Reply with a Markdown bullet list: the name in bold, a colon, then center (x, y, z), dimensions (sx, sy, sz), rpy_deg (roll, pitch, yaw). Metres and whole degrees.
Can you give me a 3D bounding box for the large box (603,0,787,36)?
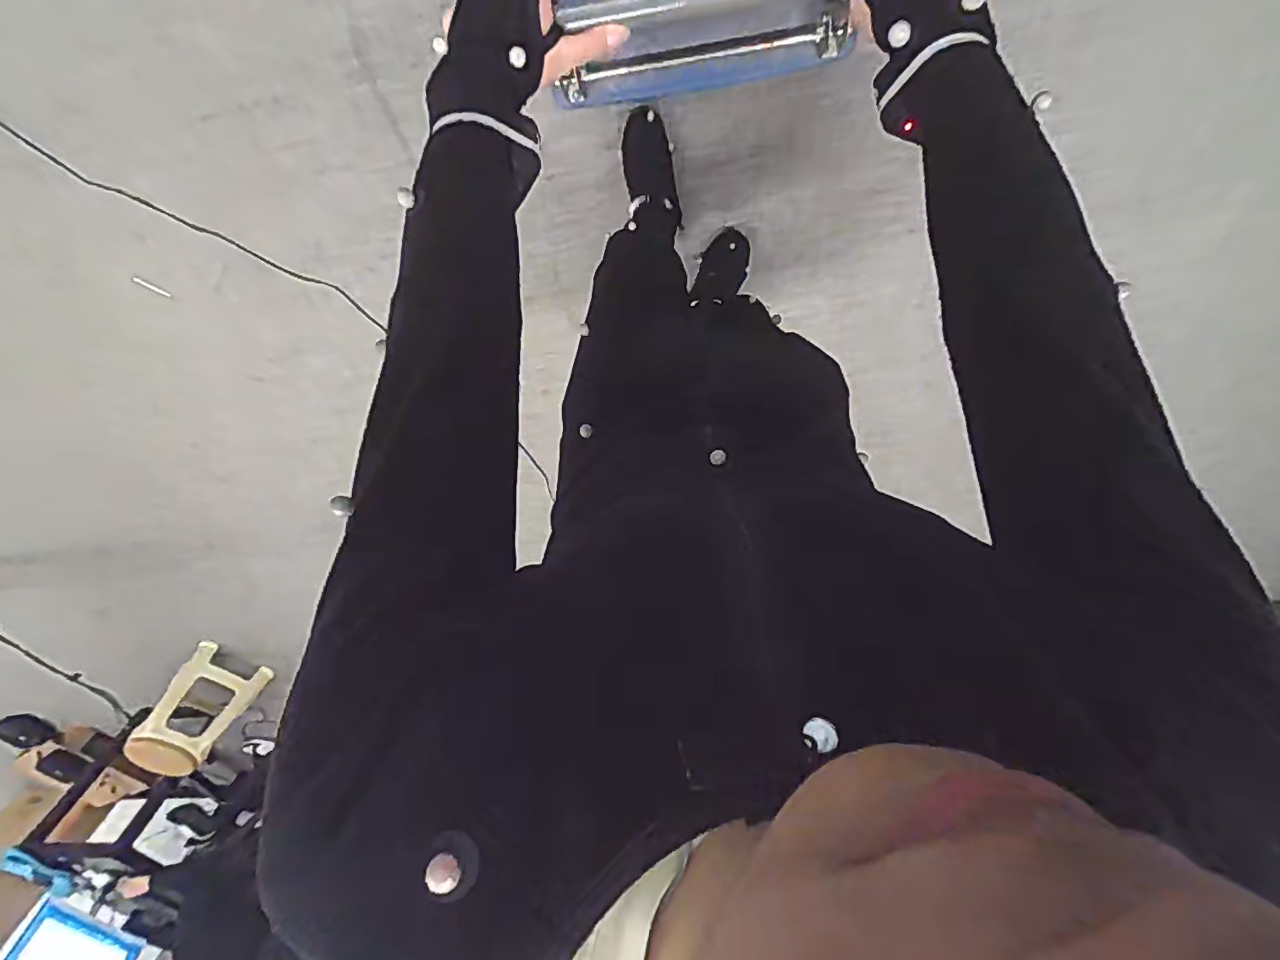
- **large box**: center (0.082, -0.915, 0.751), dimensions (0.320, 0.320, 0.408), rpy_deg (-5, 124, 8)
